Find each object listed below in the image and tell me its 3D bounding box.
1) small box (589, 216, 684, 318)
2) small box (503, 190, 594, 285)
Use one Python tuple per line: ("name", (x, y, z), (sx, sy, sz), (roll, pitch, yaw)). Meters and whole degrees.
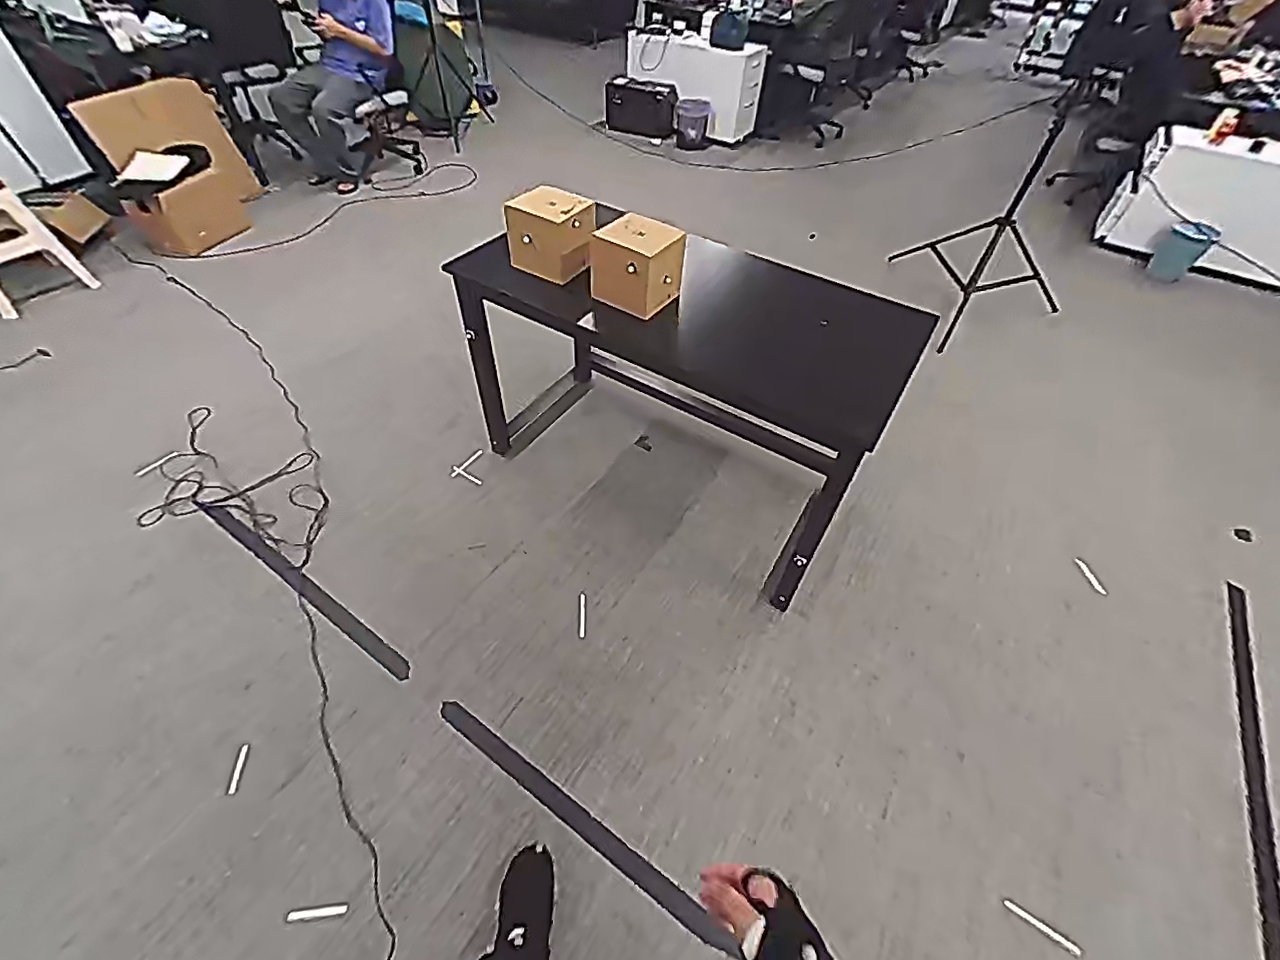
("small box", (-0.011, -0.531, 1.361), (0.179, 0.176, 0.168), (28, 52, 19))
("small box", (-0.240, -0.649, 1.452), (0.179, 0.176, 0.168), (25, 52, 18))
